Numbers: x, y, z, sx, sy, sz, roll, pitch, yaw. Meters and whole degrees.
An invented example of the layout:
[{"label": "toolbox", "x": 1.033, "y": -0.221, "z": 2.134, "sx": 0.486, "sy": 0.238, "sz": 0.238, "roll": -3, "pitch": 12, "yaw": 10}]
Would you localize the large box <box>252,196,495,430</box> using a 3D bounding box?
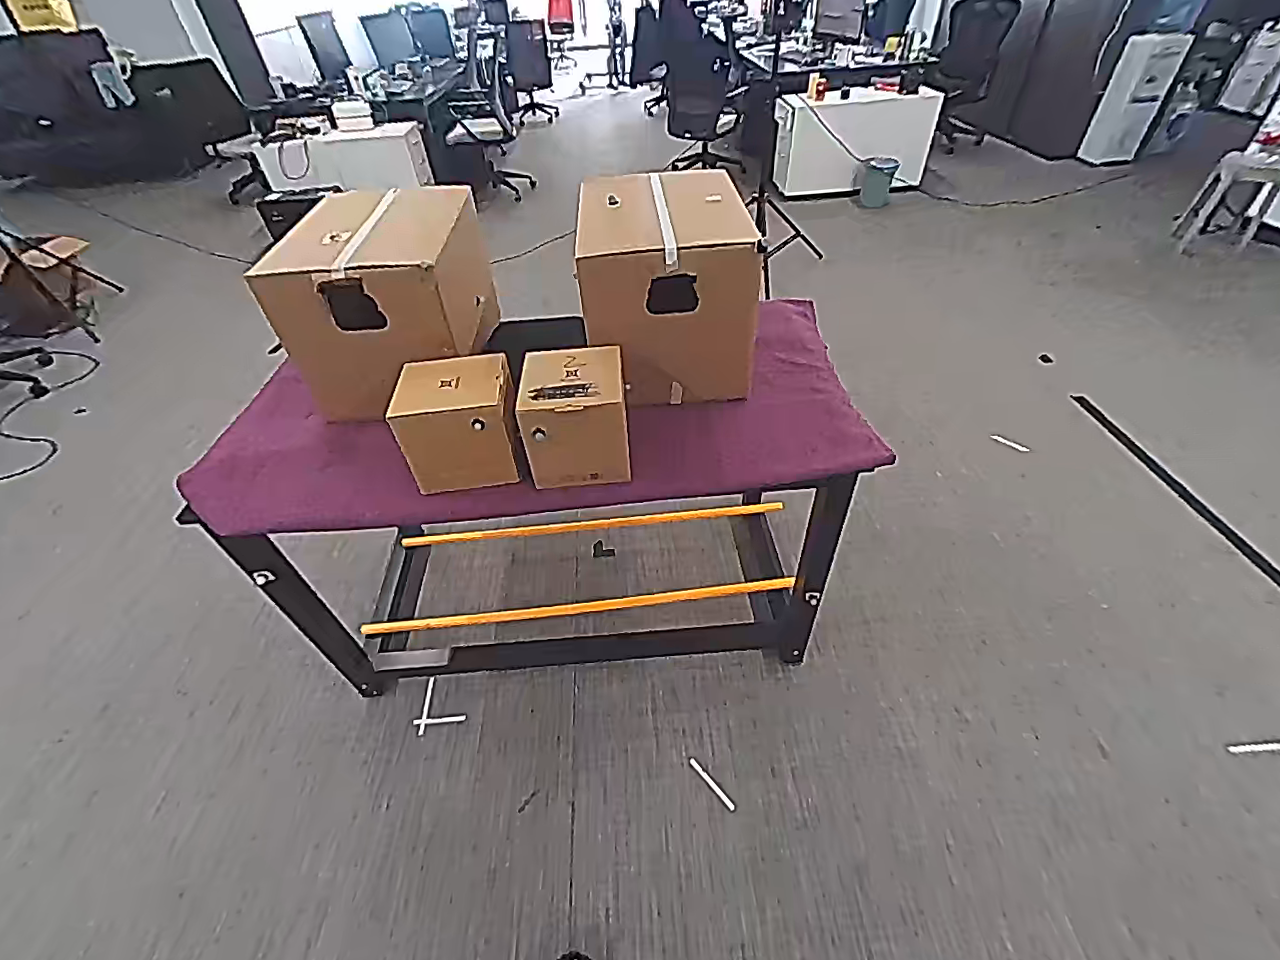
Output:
[{"label": "large box", "x": -0.505, "y": -0.359, "z": 1.140, "sx": 0.320, "sy": 0.320, "sz": 0.408, "roll": -5, "pitch": 46, "yaw": -1}]
